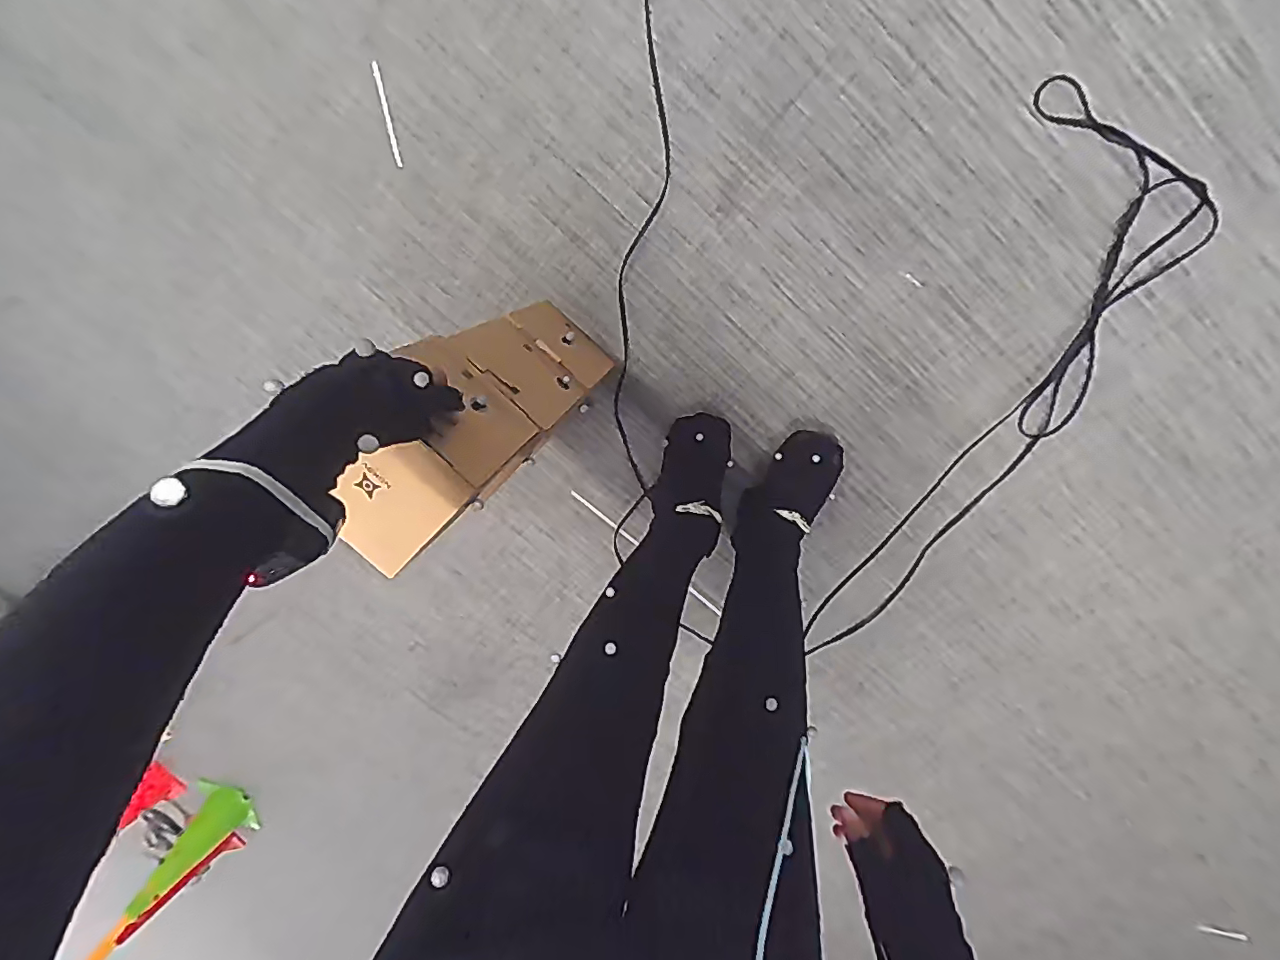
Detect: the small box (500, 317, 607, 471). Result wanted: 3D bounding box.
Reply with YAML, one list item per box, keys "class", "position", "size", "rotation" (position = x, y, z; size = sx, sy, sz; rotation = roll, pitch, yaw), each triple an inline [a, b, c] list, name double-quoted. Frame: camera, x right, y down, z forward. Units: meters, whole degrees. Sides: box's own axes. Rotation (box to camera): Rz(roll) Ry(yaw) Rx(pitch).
- class: "small box"
  position: [-0.173, -0.153, 0.910]
  size: [0.168, 0.176, 0.179]
  rotation: [41, 115, -5]

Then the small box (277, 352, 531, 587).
- class: "small box"
  position: [-0.255, -0.018, 0.620]
  size: [0.168, 0.176, 0.179]
  rotation: [45, 116, -10]

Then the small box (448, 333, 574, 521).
- class: "small box"
  position: [-0.213, -0.082, 0.764]
  size: [0.168, 0.176, 0.179]
  rotation: [43, 117, -9]
